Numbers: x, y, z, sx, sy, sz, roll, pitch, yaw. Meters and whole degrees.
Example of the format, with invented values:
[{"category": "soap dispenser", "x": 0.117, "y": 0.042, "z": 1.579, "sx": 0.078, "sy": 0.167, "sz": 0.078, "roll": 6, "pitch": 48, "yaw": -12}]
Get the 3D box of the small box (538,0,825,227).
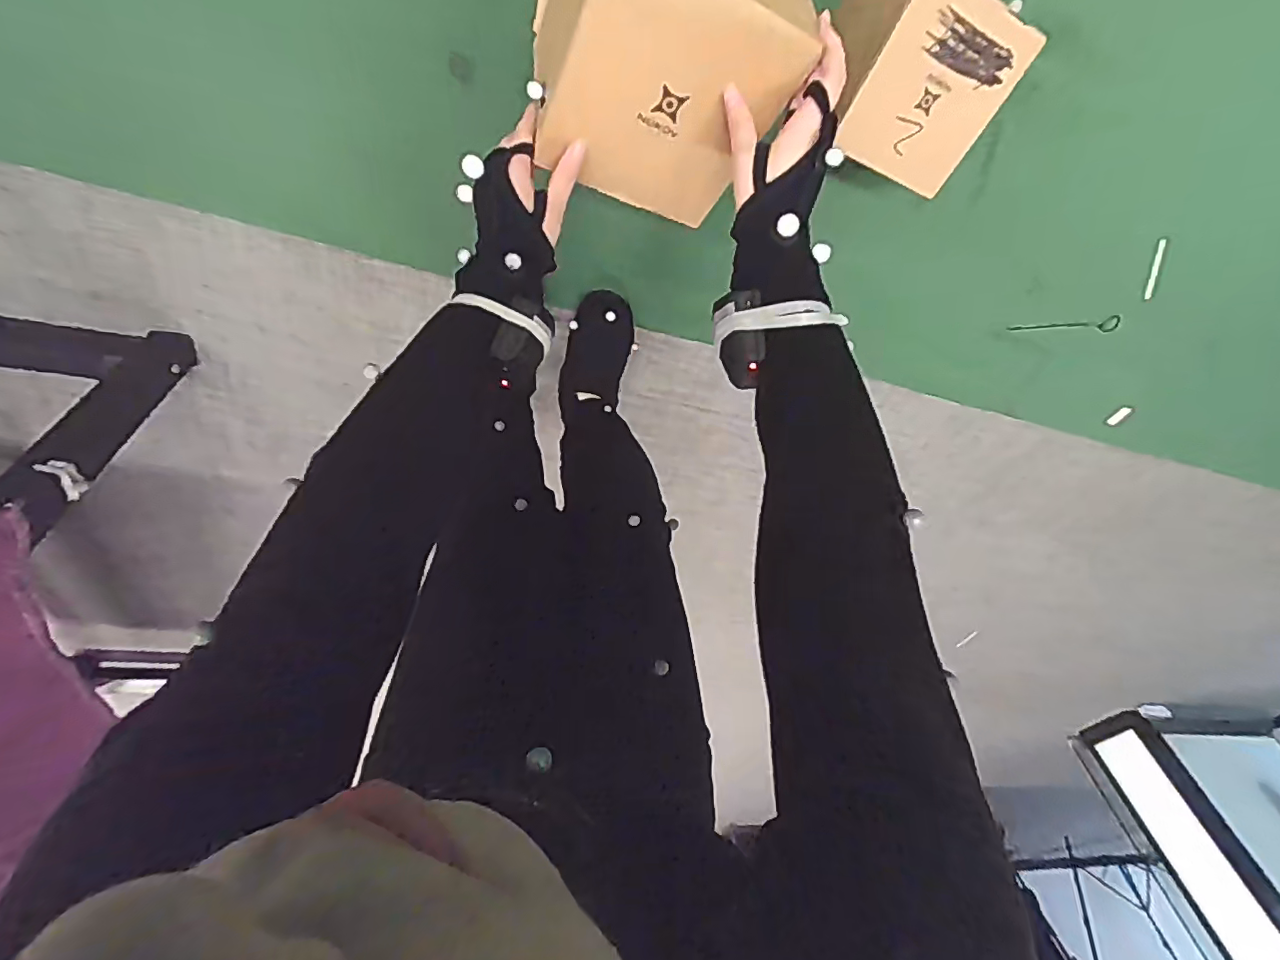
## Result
[{"category": "small box", "x": 0.019, "y": -0.360, "z": 0.448, "sx": 0.168, "sy": 0.176, "sz": 0.179, "roll": 9, "pitch": 156, "yaw": -25}]
